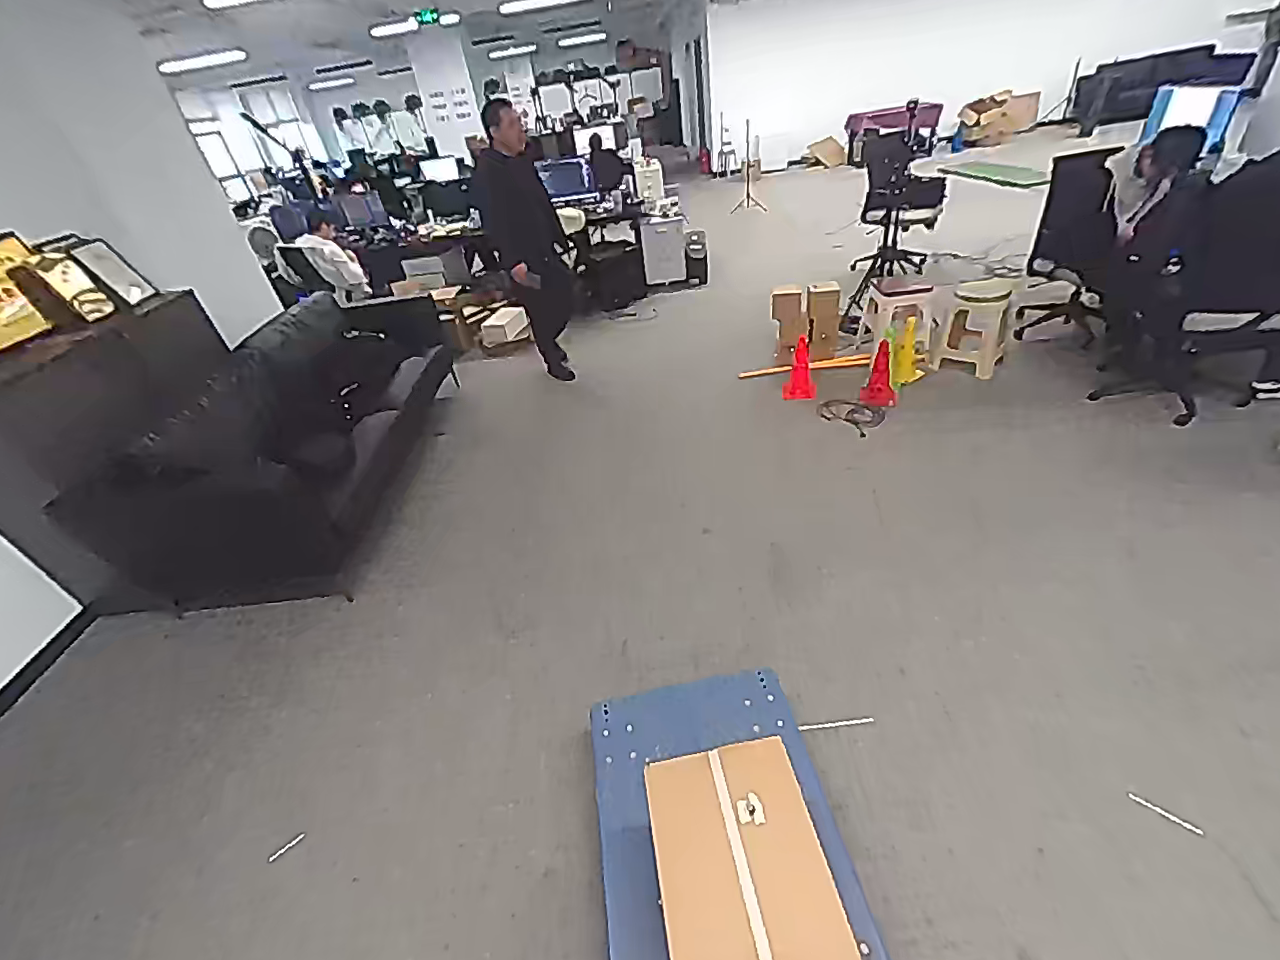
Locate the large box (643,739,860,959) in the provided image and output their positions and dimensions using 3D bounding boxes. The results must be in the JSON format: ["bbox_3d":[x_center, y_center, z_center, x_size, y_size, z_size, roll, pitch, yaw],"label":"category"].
[{"bbox_3d":[0.209,0.837,1.123,0.320,0.320,0.408,-11,36,-2],"label":"large box"}]
